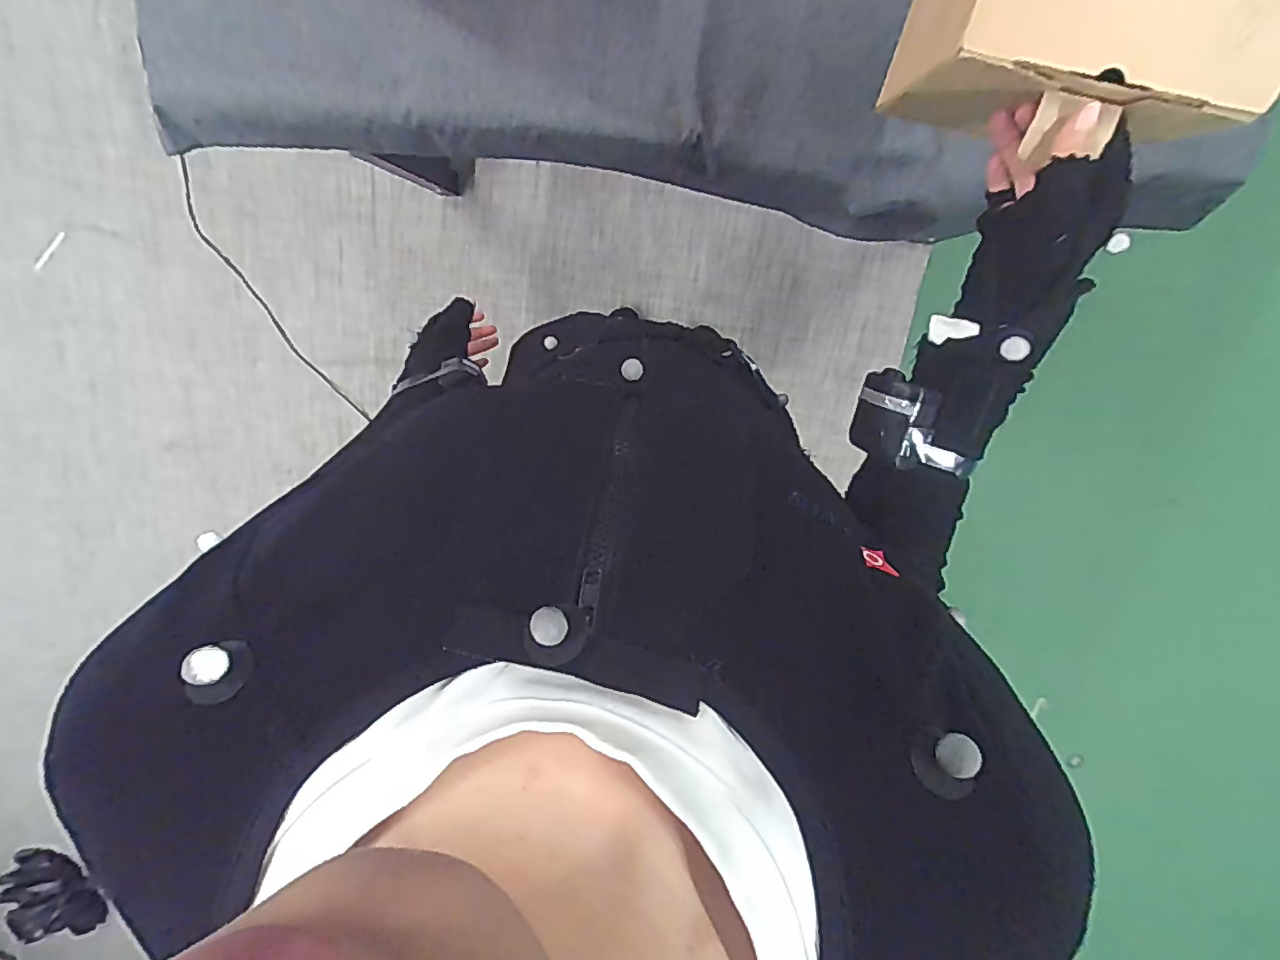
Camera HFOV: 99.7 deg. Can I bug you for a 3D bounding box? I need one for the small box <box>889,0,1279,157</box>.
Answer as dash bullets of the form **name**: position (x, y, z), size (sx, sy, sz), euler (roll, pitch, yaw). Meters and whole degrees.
- **small box**: position (0.276, -0.314, 0.327), size (0.168, 0.176, 0.179), euler (14, 116, 1)
